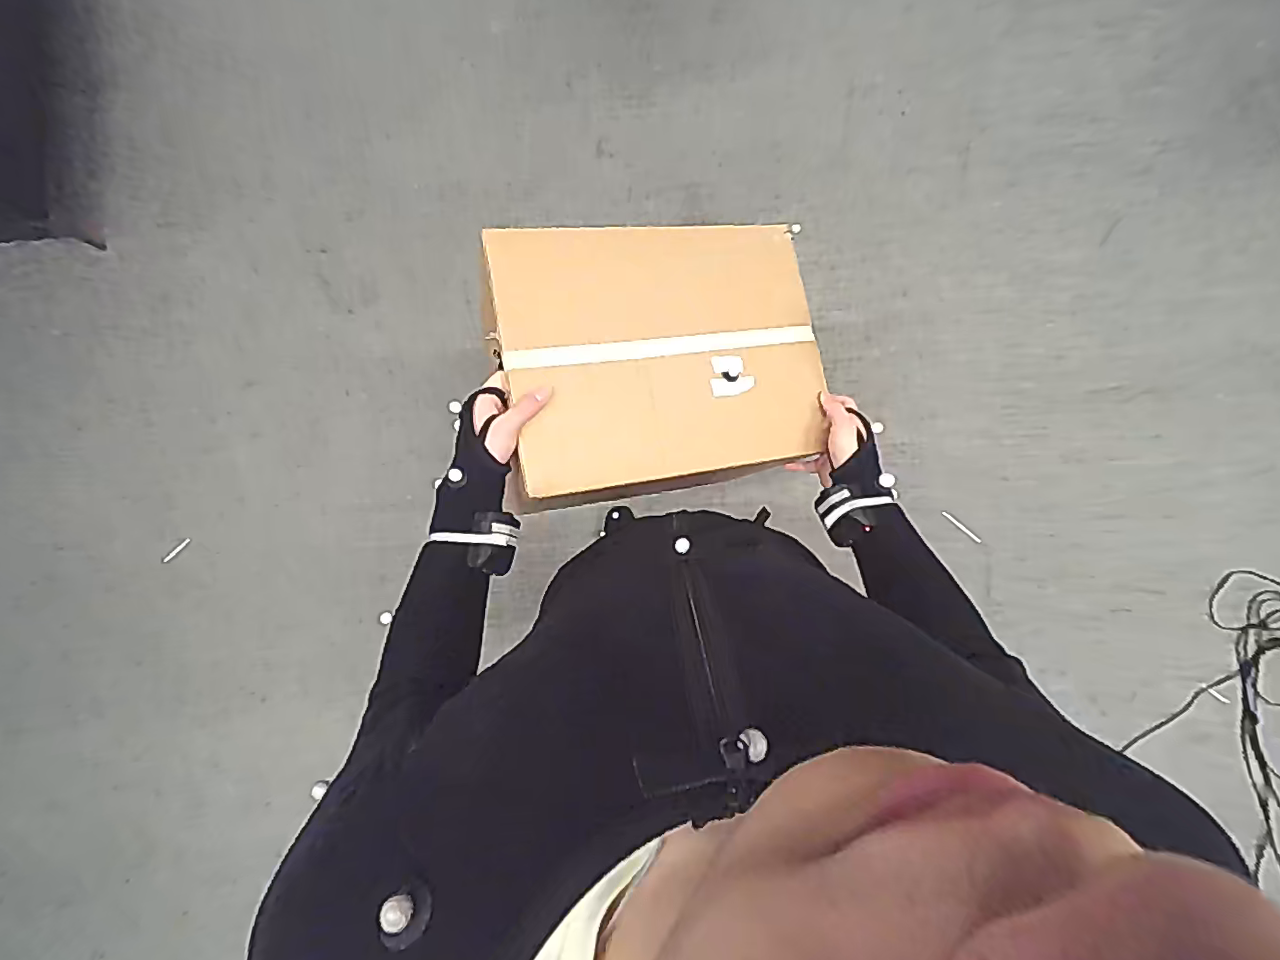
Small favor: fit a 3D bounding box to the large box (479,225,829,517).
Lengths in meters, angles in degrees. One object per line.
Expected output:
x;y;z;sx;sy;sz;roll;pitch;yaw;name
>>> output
-0.008;-0.145;0.809;0.408;0.320;0.320;-10;85;-19;large box
